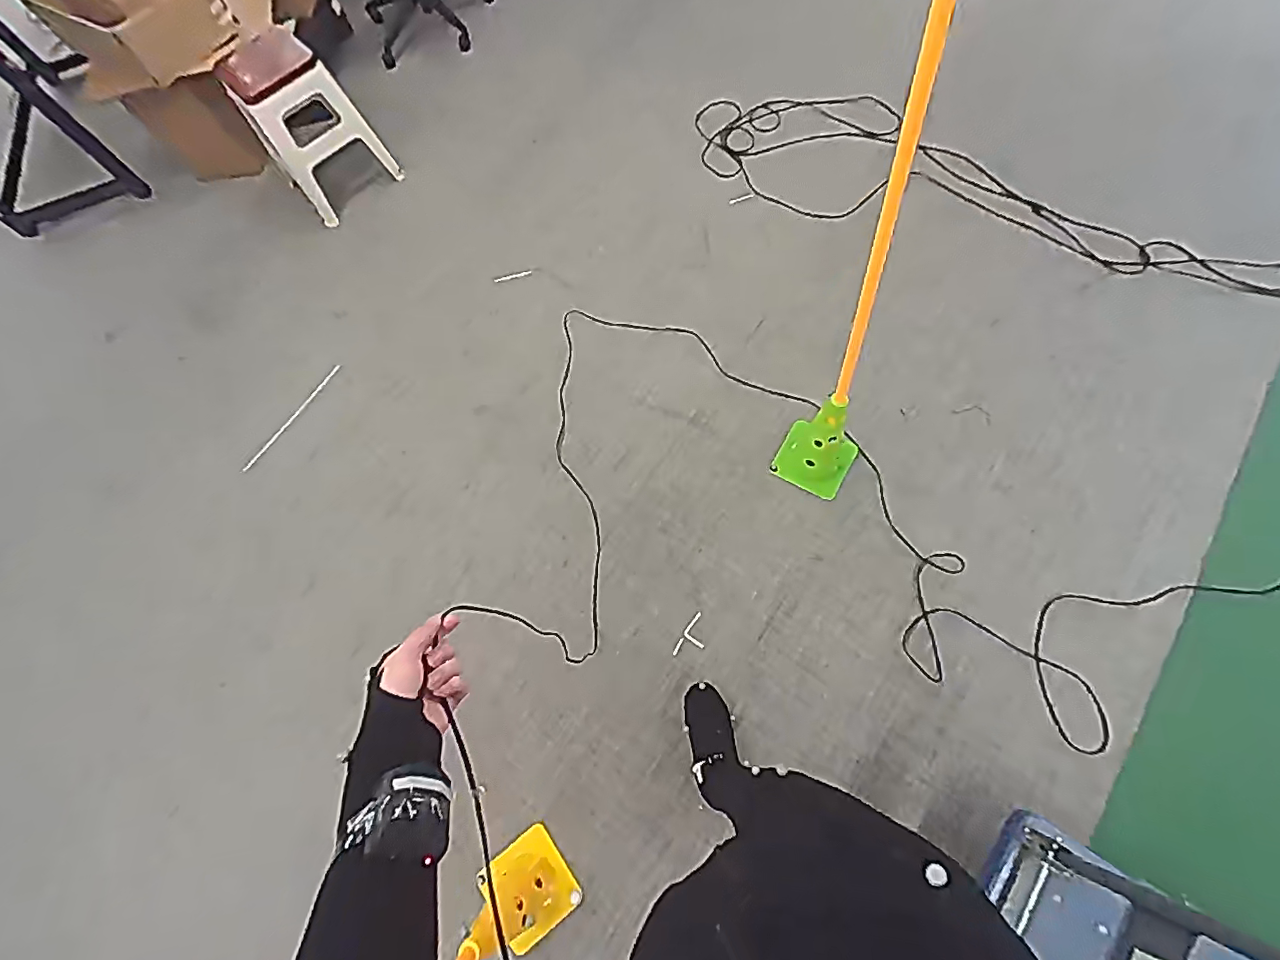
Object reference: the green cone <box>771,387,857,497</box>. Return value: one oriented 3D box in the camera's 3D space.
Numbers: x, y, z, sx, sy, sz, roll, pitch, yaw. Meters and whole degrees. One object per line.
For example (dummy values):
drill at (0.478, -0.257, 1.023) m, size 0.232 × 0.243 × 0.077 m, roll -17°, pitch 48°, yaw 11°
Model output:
green cone at (0.490, -0.130, 1.422) m, size 0.200 × 0.368 × 0.202 m, roll 27°, pitch 74°, yaw 16°
